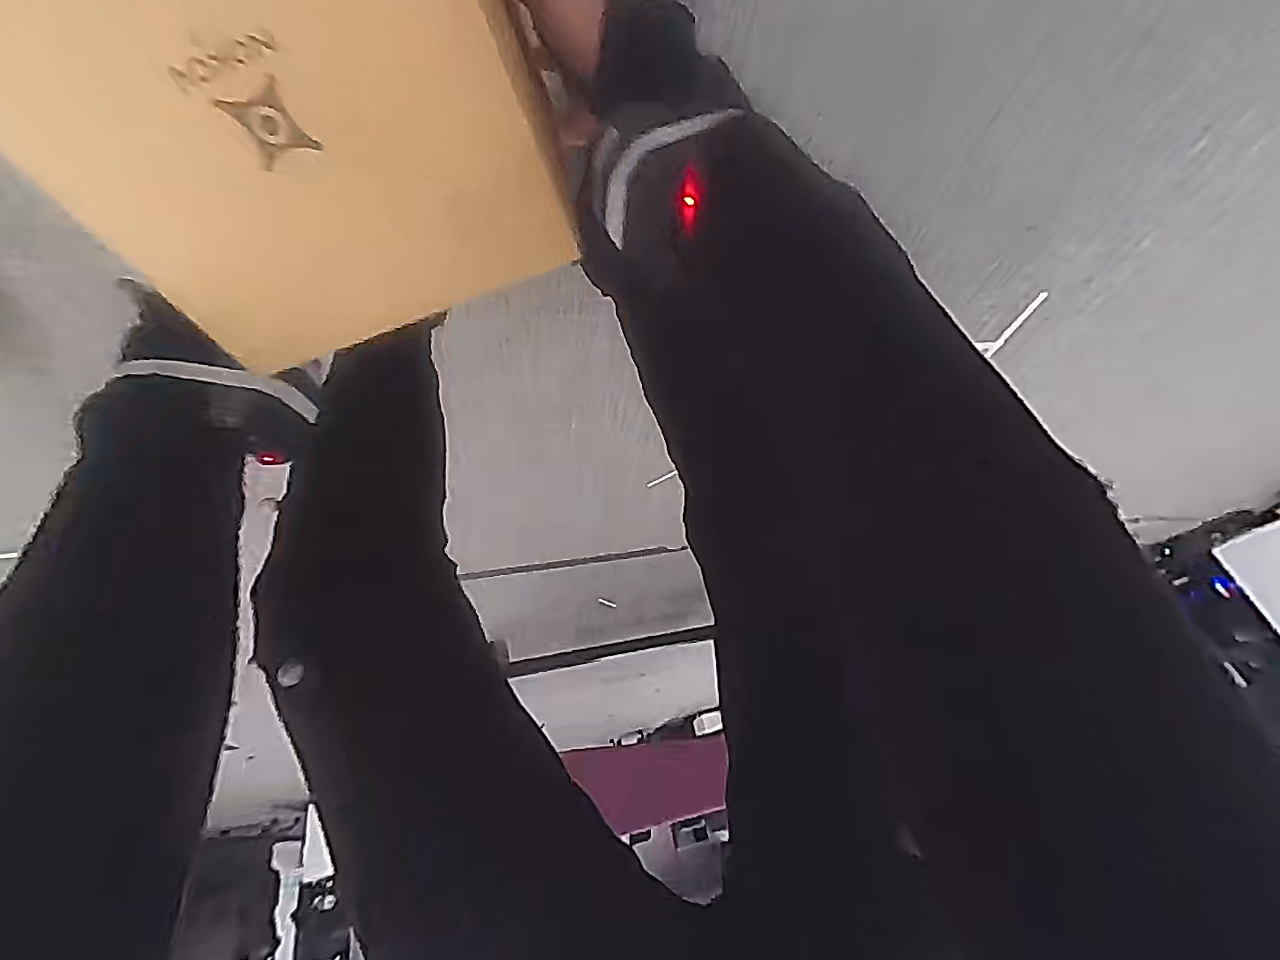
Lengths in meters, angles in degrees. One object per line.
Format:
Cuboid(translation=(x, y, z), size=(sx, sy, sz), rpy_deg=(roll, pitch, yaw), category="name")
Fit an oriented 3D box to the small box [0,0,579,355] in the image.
Cuboid(translation=(-0.135, -0.191, 0.228), size=(0.168, 0.176, 0.179), rpy_deg=(-17, 141, 6), category="small box")
